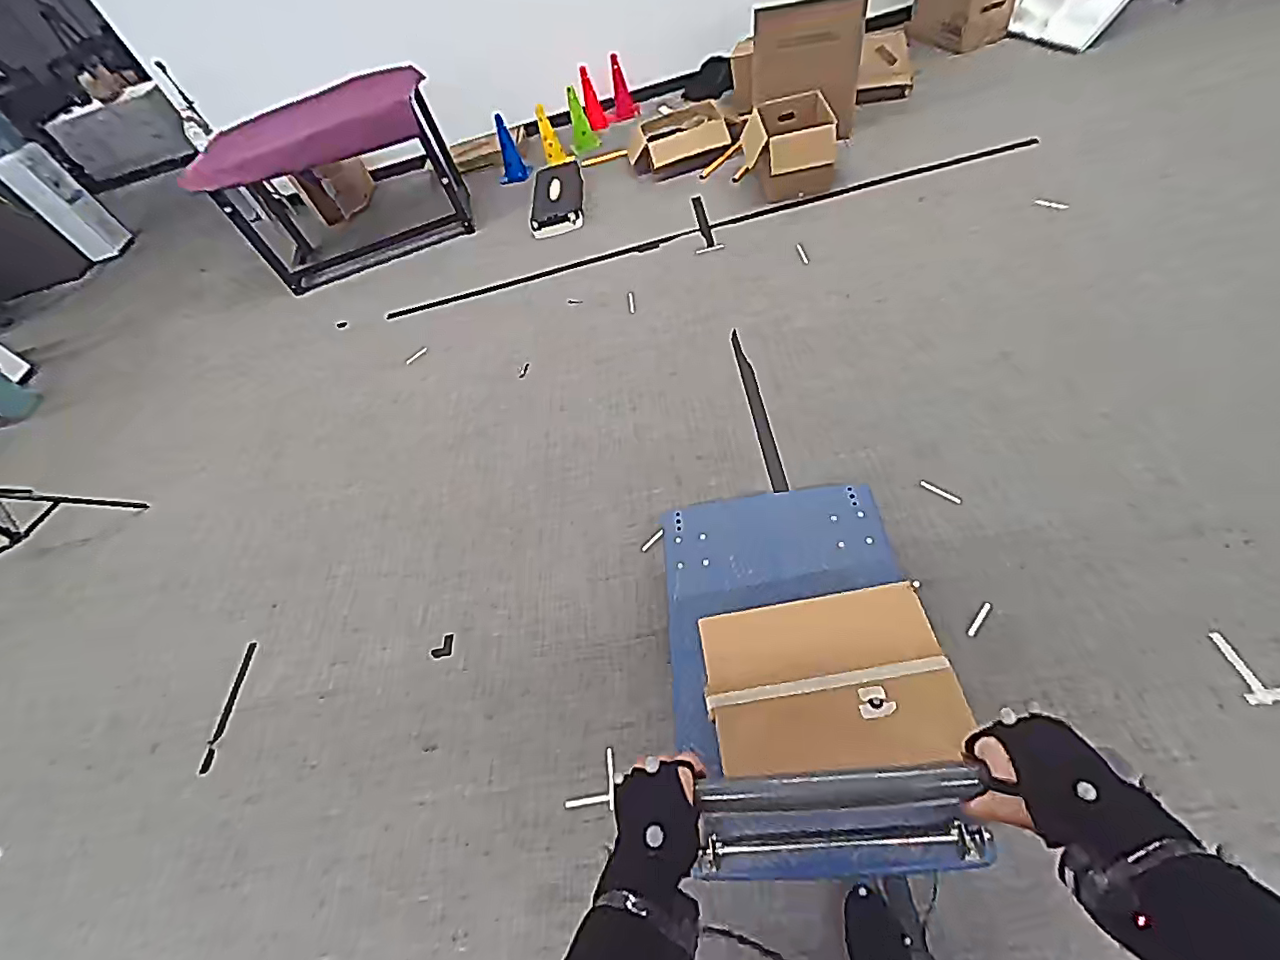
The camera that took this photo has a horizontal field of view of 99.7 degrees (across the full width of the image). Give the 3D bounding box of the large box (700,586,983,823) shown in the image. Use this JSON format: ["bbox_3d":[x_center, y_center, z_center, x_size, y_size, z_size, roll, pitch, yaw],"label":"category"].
[{"bbox_3d":[0.355,0.450,1.059,0.408,0.320,0.320,-12,52,6],"label":"large box"}]
